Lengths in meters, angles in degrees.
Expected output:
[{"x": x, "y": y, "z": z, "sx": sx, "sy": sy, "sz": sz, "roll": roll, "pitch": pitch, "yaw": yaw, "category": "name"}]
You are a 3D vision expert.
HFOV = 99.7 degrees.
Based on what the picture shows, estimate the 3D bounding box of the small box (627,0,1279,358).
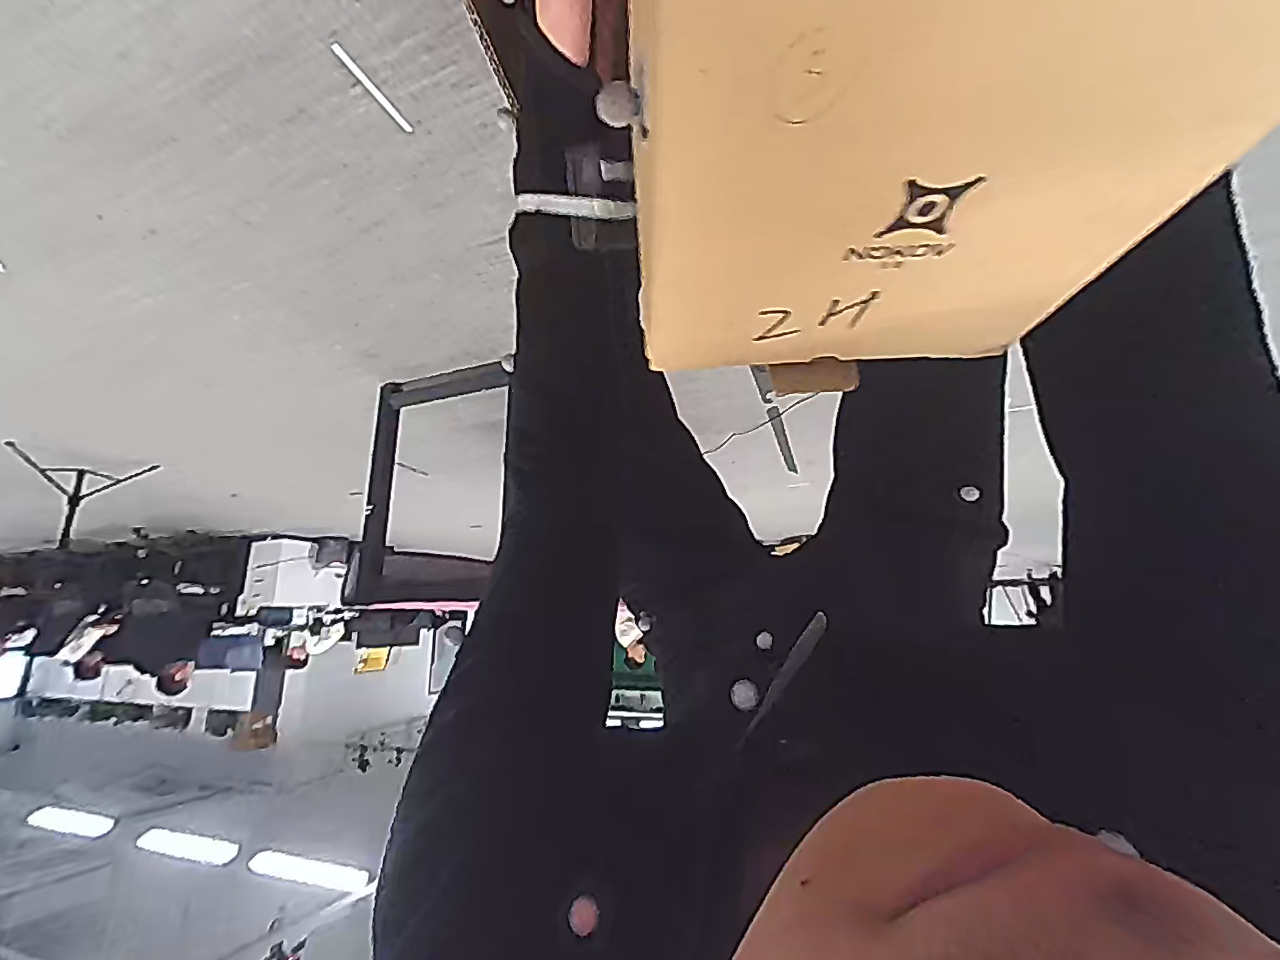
[{"x": 0.081, "y": -0.164, "z": 0.192, "sx": 0.168, "sy": 0.176, "sz": 0.179, "roll": -3, "pitch": 164, "yaw": -1, "category": "small box"}]
